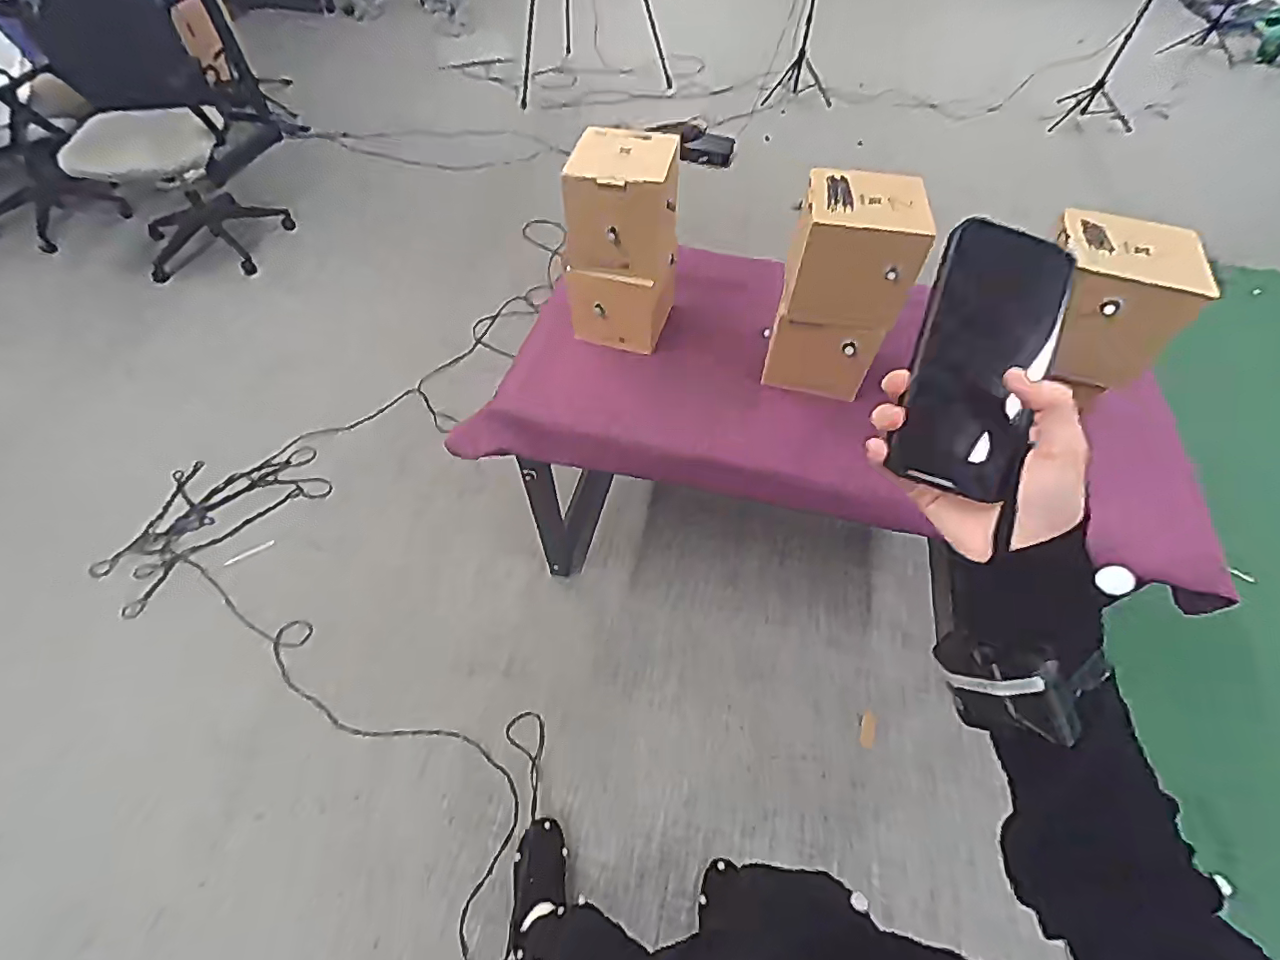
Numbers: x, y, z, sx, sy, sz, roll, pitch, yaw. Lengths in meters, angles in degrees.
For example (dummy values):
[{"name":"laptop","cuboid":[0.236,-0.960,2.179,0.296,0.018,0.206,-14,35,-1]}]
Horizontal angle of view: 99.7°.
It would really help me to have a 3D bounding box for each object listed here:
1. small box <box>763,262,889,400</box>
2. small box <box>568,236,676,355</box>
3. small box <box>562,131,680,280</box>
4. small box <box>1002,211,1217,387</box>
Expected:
[{"name":"small box","cuboid":[0.340,-0.270,1.002,0.179,0.176,0.168,13,55,9]},{"name":"small box","cuboid":[-0.029,-0.375,1.077,0.168,0.176,0.179,14,56,10]},{"name":"small box","cuboid":[-0.027,-0.477,0.948,0.168,0.176,0.179,10,56,6]},{"name":"small box","cuboid":[0.668,-0.263,0.798,0.179,0.176,0.168,19,56,12]}]
